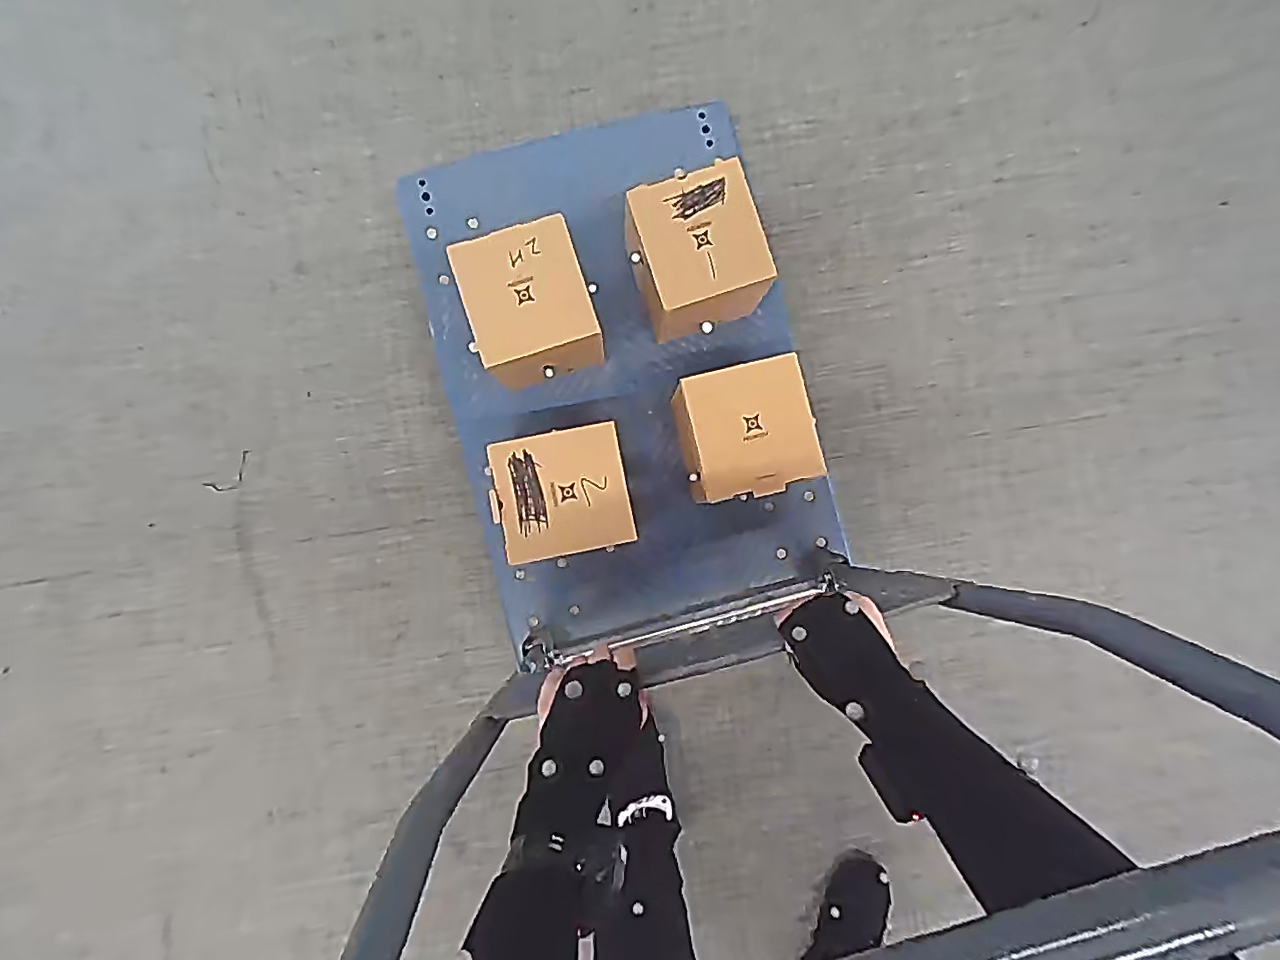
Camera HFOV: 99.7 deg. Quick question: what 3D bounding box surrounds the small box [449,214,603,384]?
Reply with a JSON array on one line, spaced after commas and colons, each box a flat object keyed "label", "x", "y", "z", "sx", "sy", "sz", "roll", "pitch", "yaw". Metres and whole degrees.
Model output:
[{"label": "small box", "x": -0.156, "y": -0.251, "z": 0.802, "sx": 0.168, "sy": 0.176, "sz": 0.179, "roll": -17, "pitch": 89, "yaw": -3}]

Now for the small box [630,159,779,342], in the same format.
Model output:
[{"label": "small box", "x": 0.084, "y": -0.331, "z": 0.811, "sx": 0.168, "sy": 0.176, "sz": 0.179, "roll": -18, "pitch": 90, "yaw": -1}]

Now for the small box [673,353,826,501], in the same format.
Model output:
[{"label": "small box", "x": 0.151, "y": -0.069, "z": 0.808, "sx": 0.168, "sy": 0.176, "sz": 0.179, "roll": -13, "pitch": 89, "yaw": -2}]
